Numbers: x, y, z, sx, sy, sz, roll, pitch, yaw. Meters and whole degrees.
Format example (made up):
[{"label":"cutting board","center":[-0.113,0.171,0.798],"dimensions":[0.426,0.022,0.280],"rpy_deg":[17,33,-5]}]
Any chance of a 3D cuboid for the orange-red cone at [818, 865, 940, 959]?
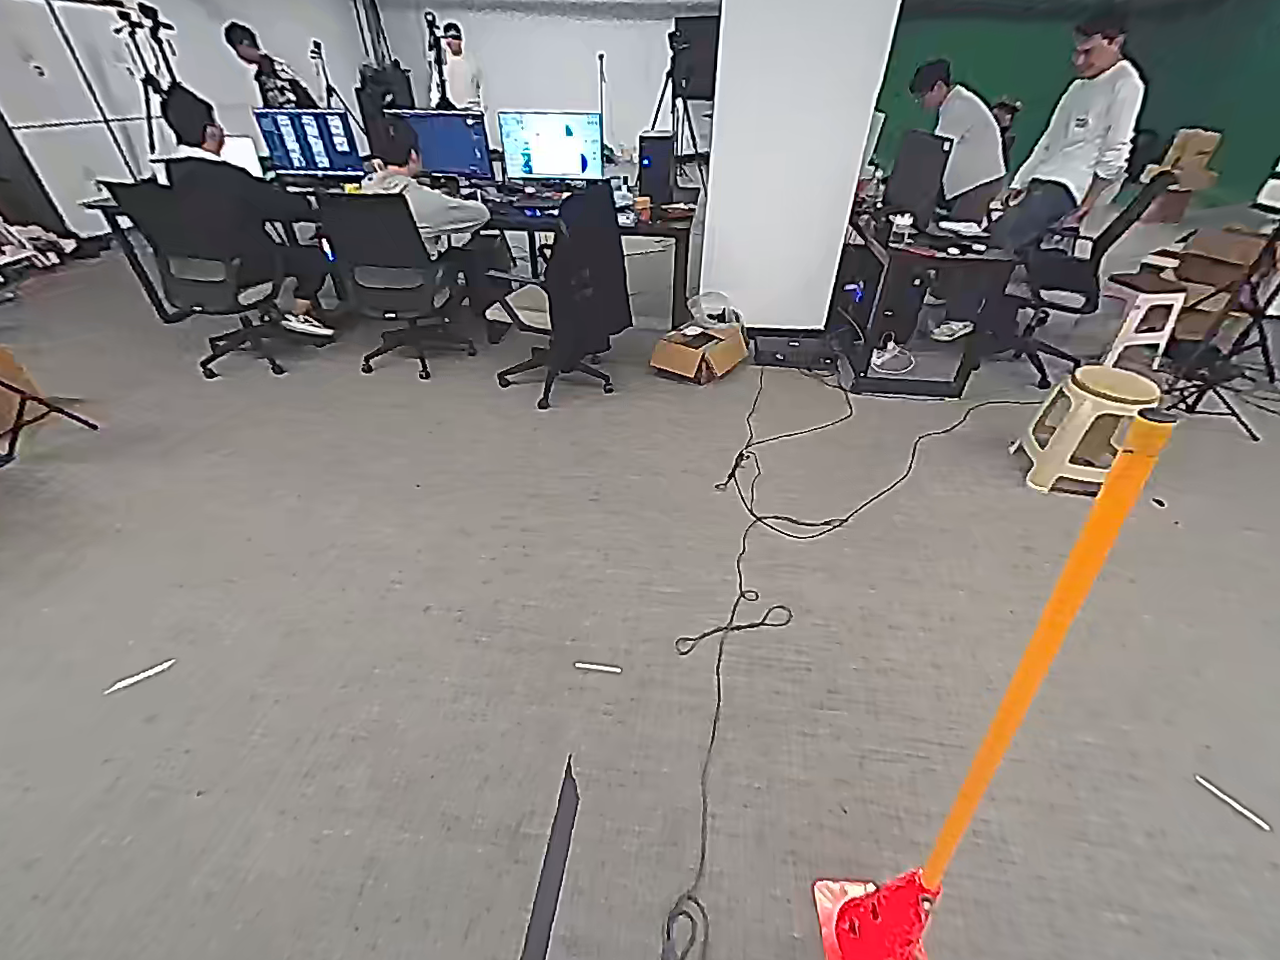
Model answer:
[{"label":"orange-red cone","center":[0.470,0.791,0.982],"dimensions":[0.199,0.360,0.198],"rpy_deg":[1,36,3]}]
